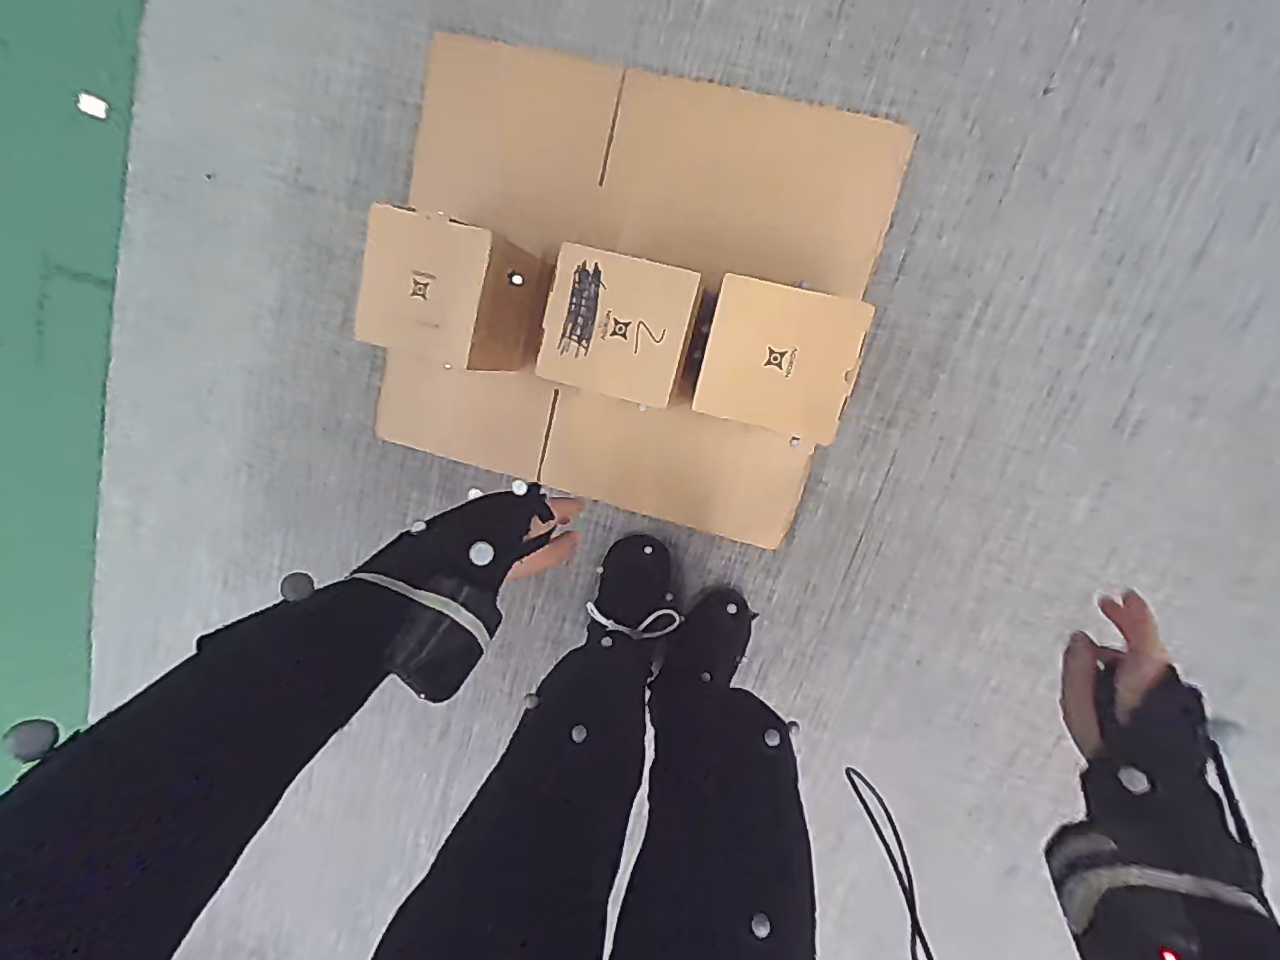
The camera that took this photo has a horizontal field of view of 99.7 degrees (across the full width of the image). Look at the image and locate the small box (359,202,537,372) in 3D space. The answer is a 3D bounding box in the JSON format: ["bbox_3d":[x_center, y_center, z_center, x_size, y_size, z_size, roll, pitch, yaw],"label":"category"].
[{"bbox_3d":[-0.258,-0.258,0.762,0.168,0.176,0.179,17,103,7],"label":"small box"}]
